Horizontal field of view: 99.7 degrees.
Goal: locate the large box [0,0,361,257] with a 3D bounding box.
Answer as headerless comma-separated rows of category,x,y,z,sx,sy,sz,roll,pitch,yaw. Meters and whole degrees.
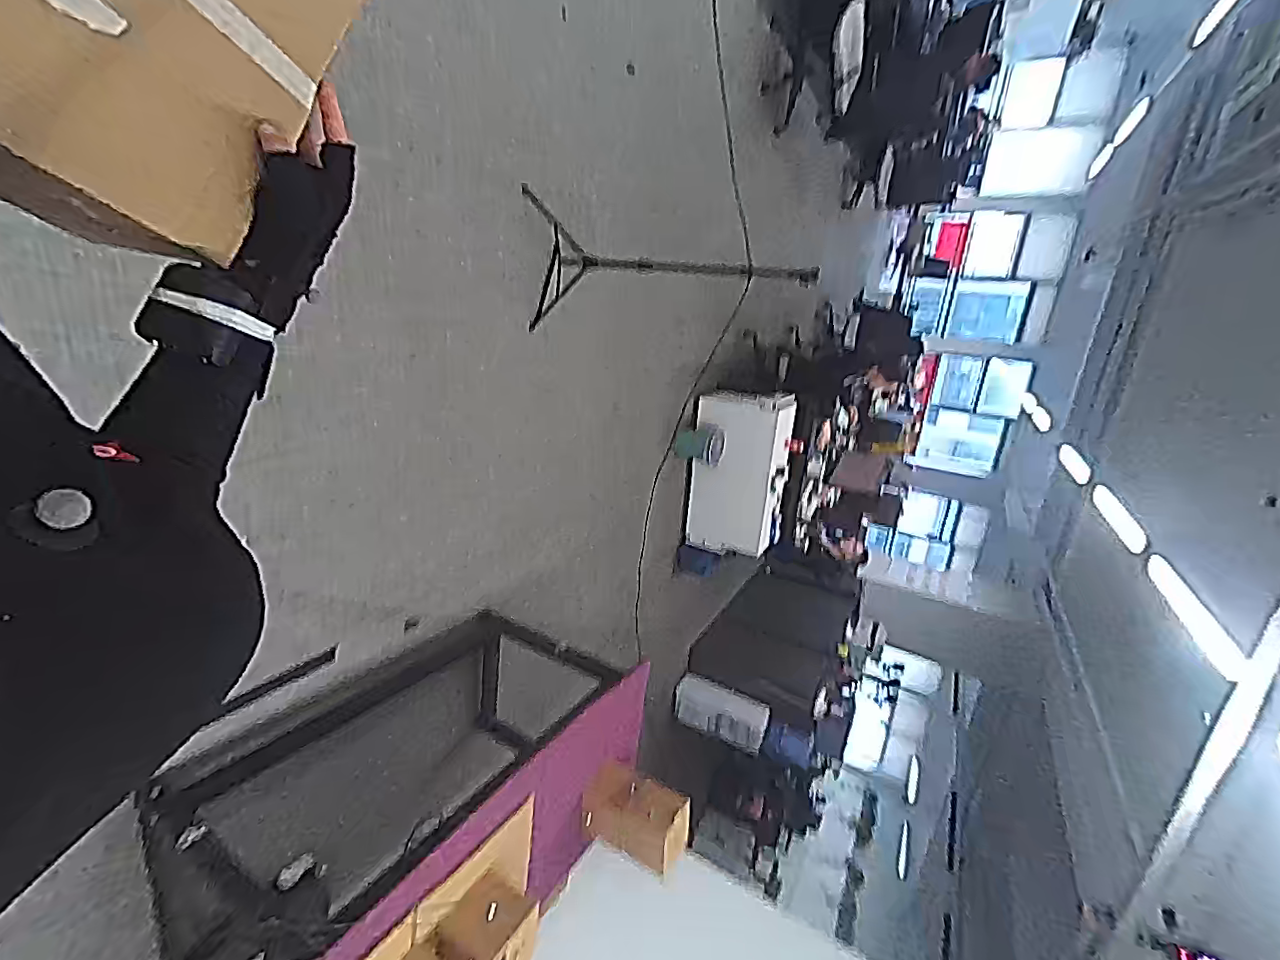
large box,-0.482,-0.407,0.350,0.408,0.320,0.320,32,79,-61
